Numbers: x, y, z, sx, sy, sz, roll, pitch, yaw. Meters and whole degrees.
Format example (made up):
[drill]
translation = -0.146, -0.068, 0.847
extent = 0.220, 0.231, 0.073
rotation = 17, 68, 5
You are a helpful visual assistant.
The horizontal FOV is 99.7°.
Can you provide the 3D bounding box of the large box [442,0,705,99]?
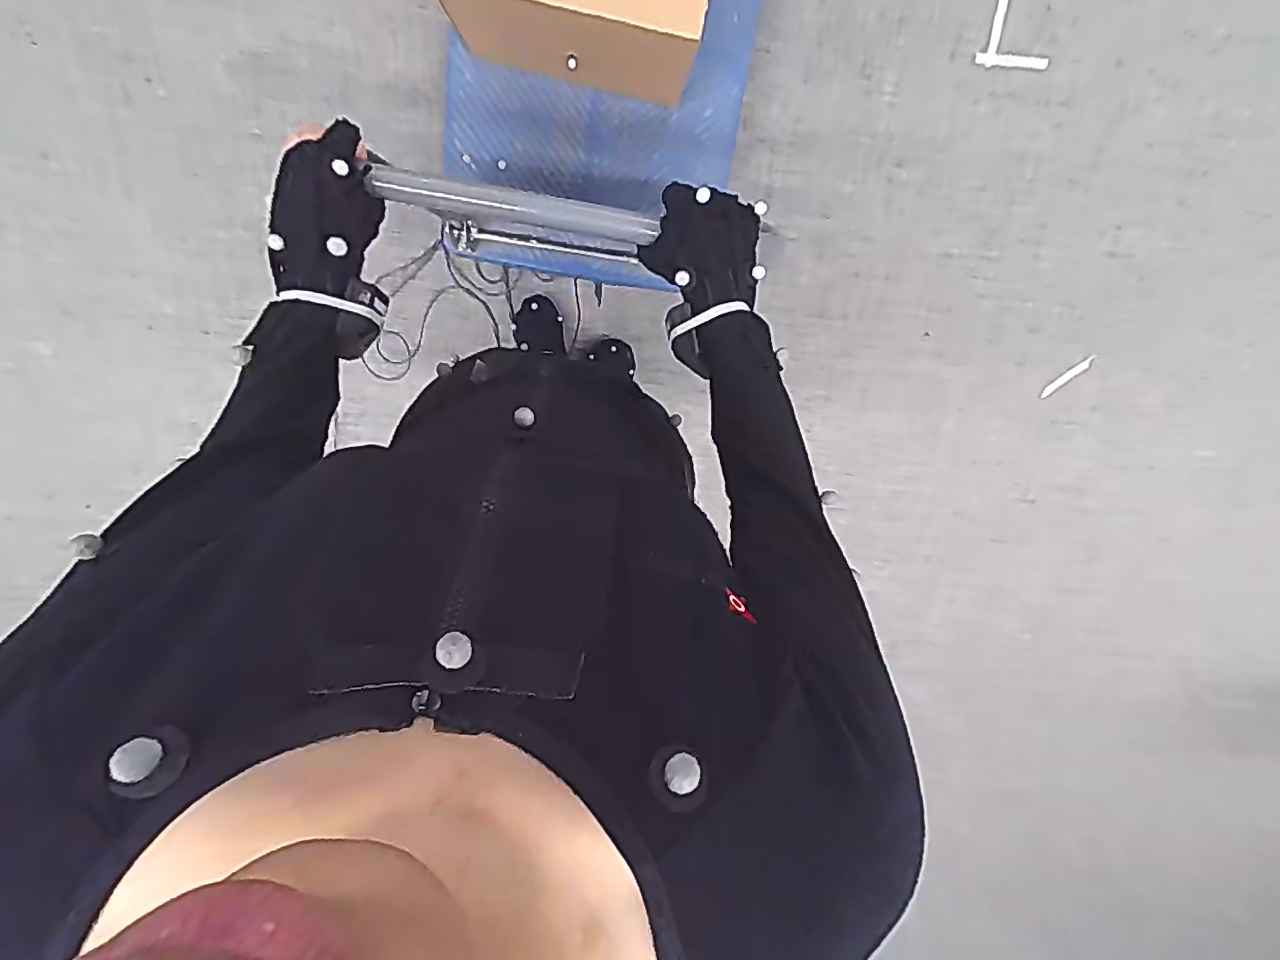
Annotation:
[large box]
translation = -0.088, -0.878, 0.883
extent = 0.408, 0.320, 0.320
rotation = 9, 108, -5
